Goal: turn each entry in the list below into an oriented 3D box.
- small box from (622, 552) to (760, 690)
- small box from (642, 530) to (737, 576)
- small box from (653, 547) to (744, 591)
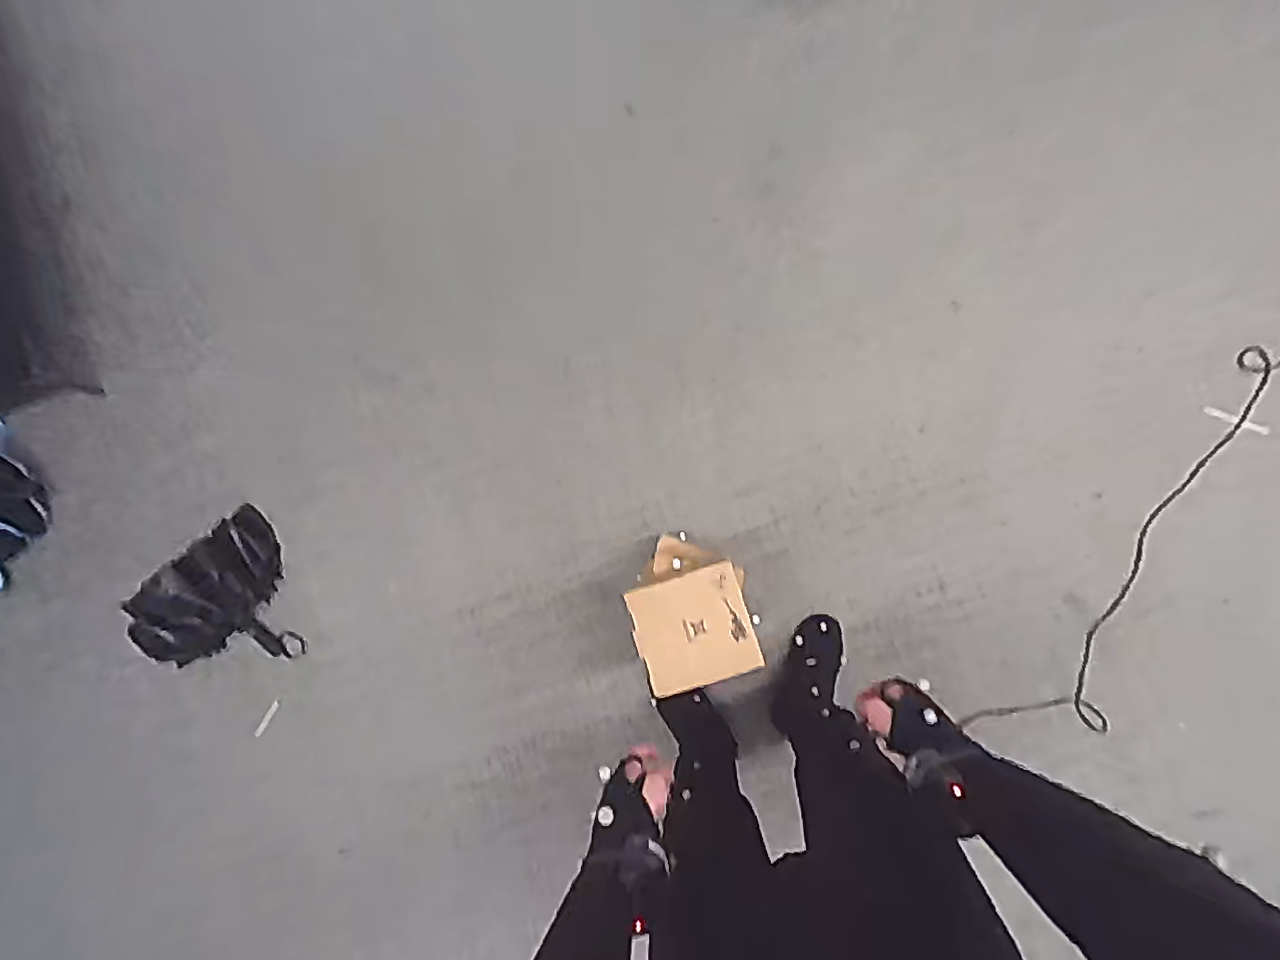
[{"bbox_3d":[0.086,0.224,0.898,0.179,0.176,0.168,-18,85,5],"label":"small box"},{"bbox_3d":[0.102,0.220,1.227,0.179,0.176,0.168,22,89,5],"label":"small box"},{"bbox_3d":[0.101,0.233,1.061,0.168,0.176,0.179,10,89,6],"label":"small box"}]
